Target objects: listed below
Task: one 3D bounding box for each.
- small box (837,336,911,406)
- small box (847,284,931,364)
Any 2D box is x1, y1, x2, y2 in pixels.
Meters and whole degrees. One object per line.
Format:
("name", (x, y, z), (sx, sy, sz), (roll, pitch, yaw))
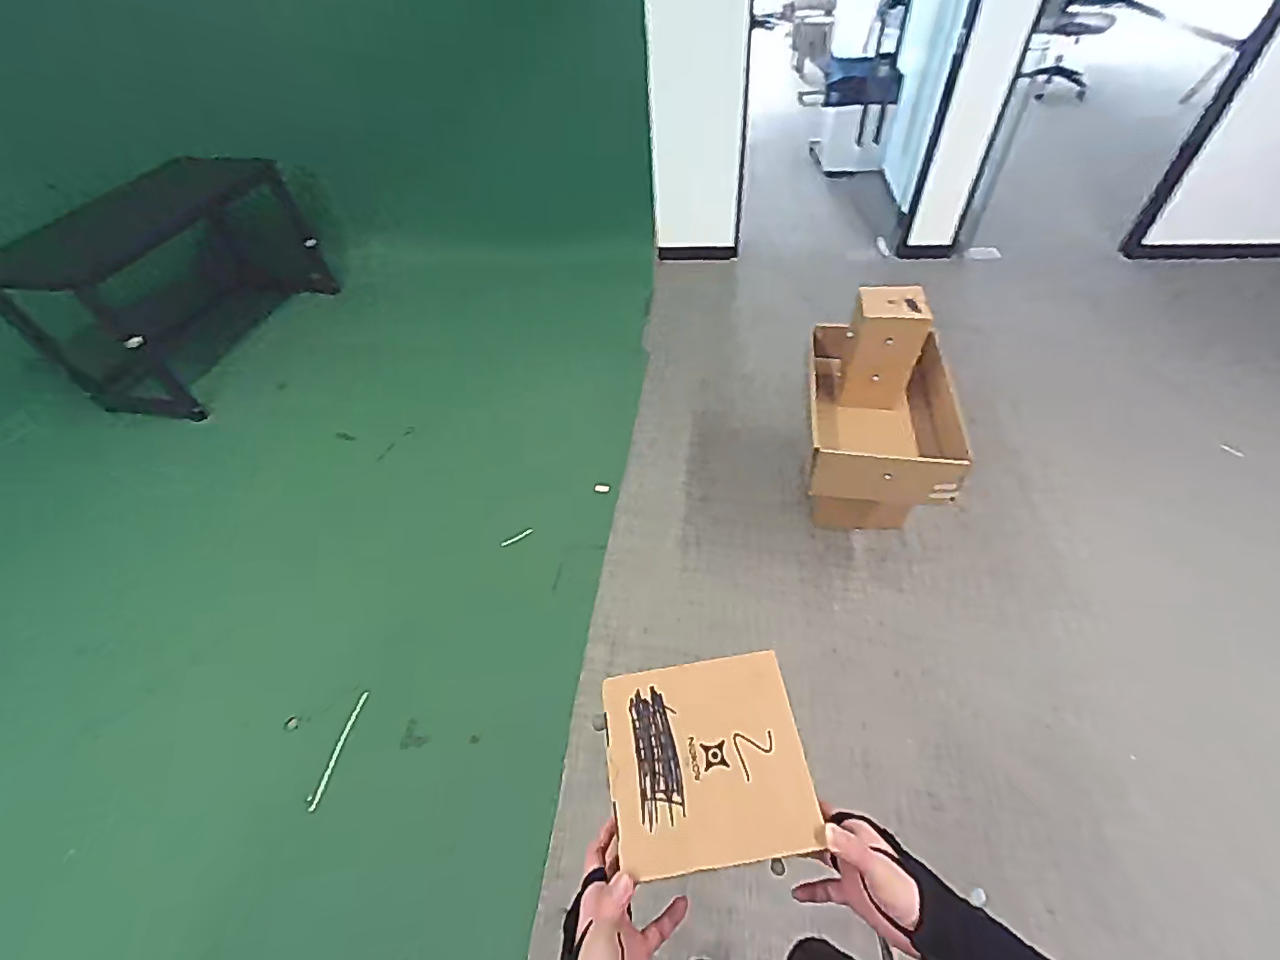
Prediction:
("small box", (0.734, -0.351, 1.713), (0.179, 0.176, 0.168), (5, 50, 10))
("small box", (0.722, -0.455, 1.585), (0.179, 0.176, 0.168), (3, 50, 9))
